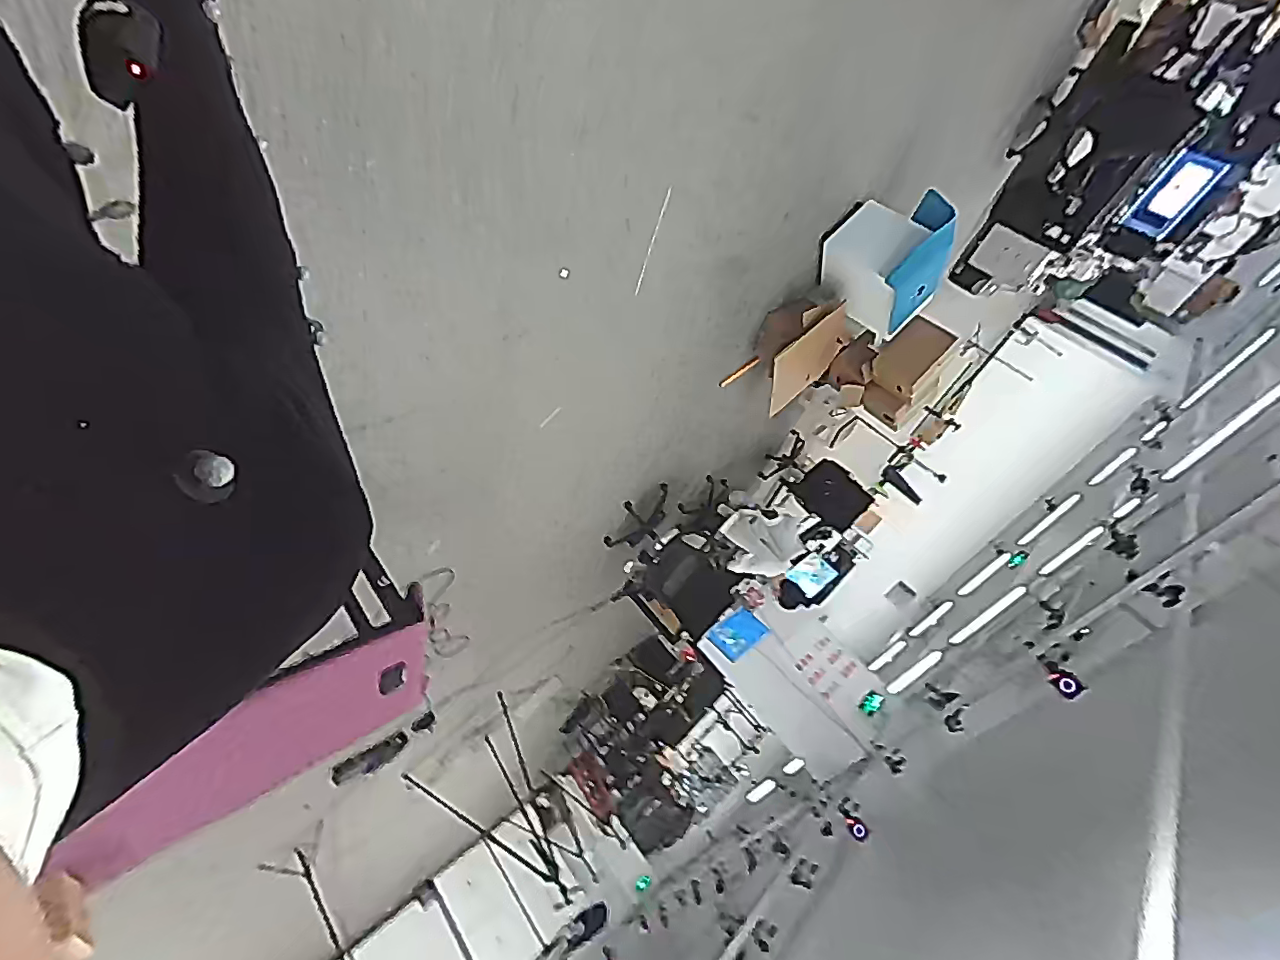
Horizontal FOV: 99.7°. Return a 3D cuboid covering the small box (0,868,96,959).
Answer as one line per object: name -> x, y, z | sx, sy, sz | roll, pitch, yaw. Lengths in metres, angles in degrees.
small box -> -1.446, 1.071, 1.285 | 0.168, 0.176, 0.179 | -22, 148, -42
